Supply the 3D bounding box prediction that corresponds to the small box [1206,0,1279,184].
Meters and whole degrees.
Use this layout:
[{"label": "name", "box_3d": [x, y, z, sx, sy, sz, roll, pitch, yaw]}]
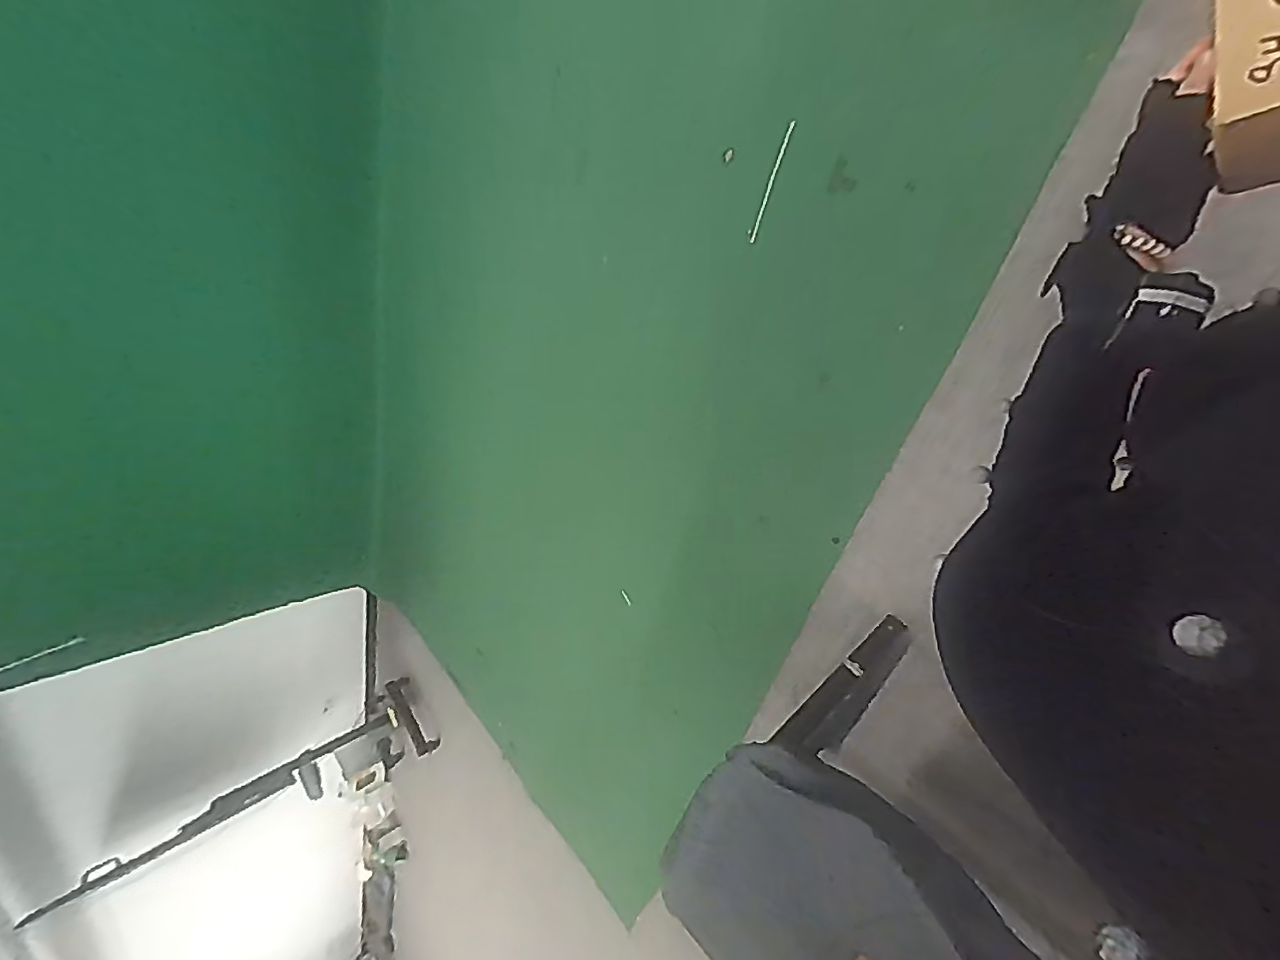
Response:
[{"label": "small box", "box_3d": [0.470, -0.310, 0.324, 0.179, 0.176, 0.168, 2, 96, 47]}]
